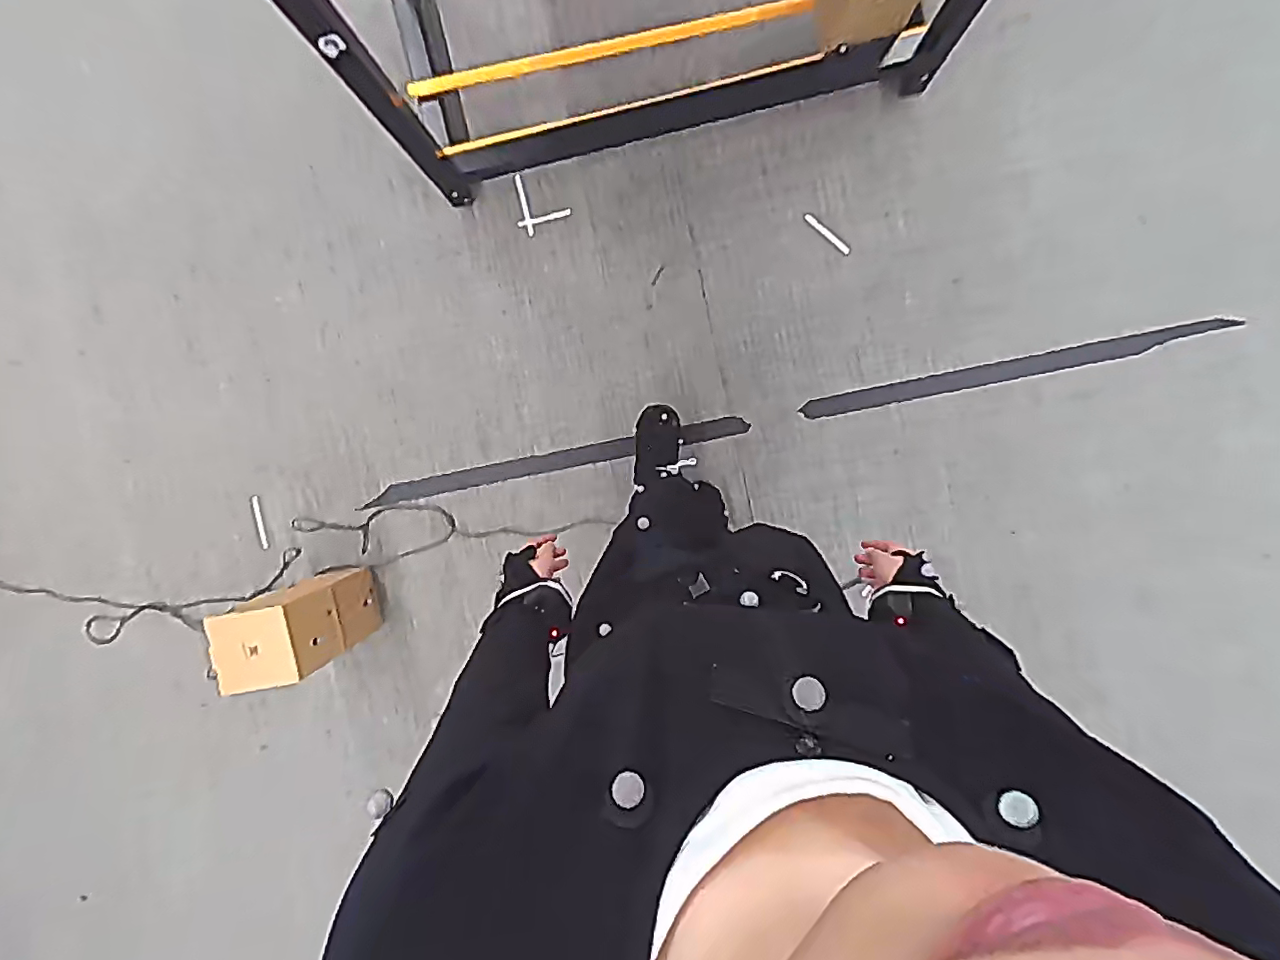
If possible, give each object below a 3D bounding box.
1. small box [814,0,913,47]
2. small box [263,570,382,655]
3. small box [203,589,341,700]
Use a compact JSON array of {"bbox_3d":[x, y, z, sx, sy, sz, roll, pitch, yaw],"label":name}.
[{"bbox_3d":[0.459,-1.025,1.094,0.168,0.176,0.179,-12,92,4],"label":"small box"},{"bbox_3d":[-0.775,0.332,1.334,0.179,0.176,0.168,-11,95,3],"label":"small box"},{"bbox_3d":[-0.781,0.347,1.172,0.179,0.176,0.168,-11,94,4],"label":"small box"}]
